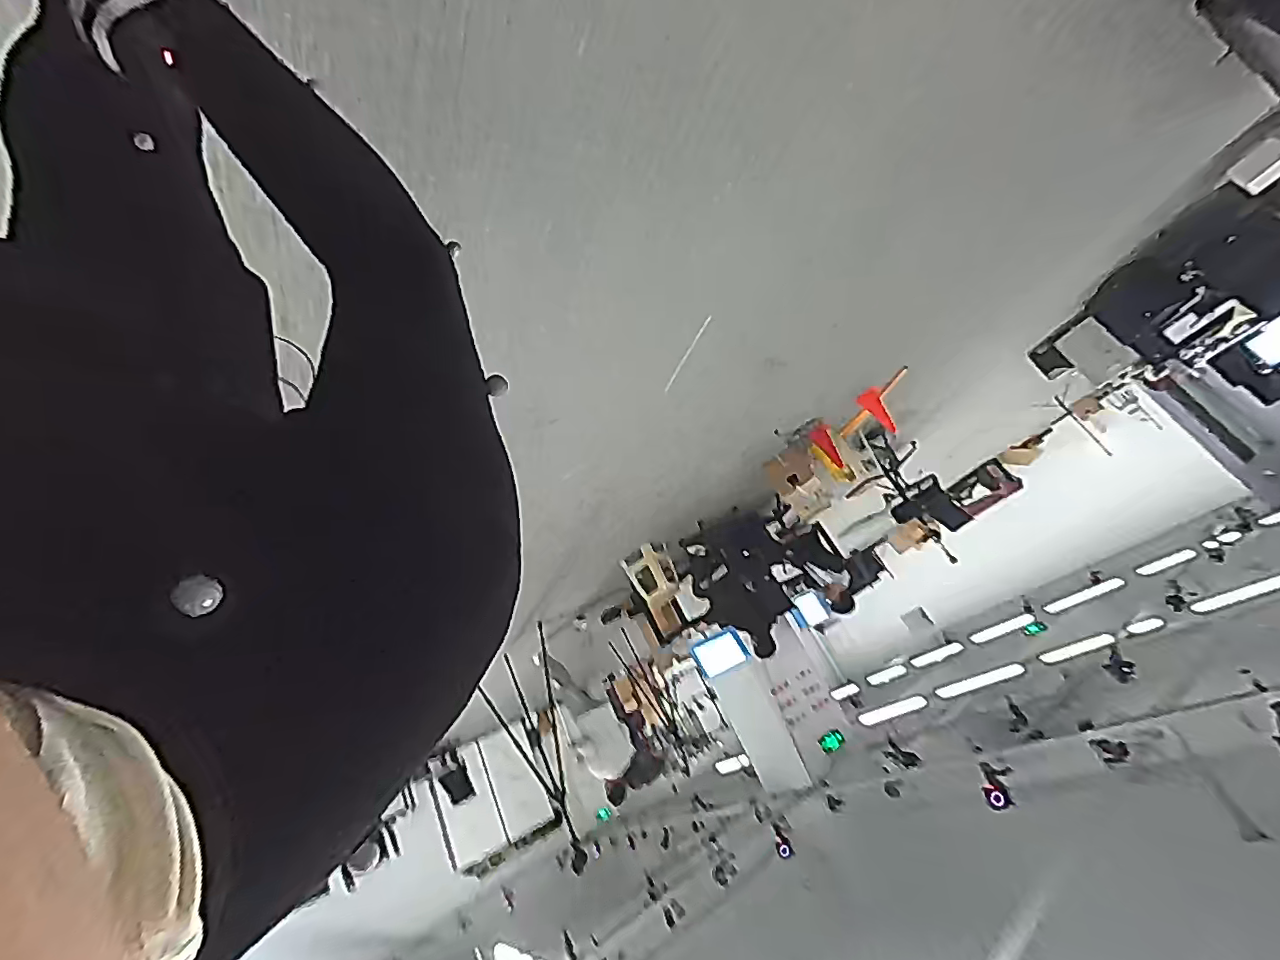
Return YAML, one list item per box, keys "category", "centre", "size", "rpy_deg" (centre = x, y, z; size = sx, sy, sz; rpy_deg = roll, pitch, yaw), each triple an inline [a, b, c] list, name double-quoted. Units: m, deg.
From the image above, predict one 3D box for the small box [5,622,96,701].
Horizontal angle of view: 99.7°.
- category: "small box"
  centre: [-1.922, 0.590, 1.767]
  size: [0.168, 0.176, 0.179]
  rpy_deg: [-14, 153, -35]
